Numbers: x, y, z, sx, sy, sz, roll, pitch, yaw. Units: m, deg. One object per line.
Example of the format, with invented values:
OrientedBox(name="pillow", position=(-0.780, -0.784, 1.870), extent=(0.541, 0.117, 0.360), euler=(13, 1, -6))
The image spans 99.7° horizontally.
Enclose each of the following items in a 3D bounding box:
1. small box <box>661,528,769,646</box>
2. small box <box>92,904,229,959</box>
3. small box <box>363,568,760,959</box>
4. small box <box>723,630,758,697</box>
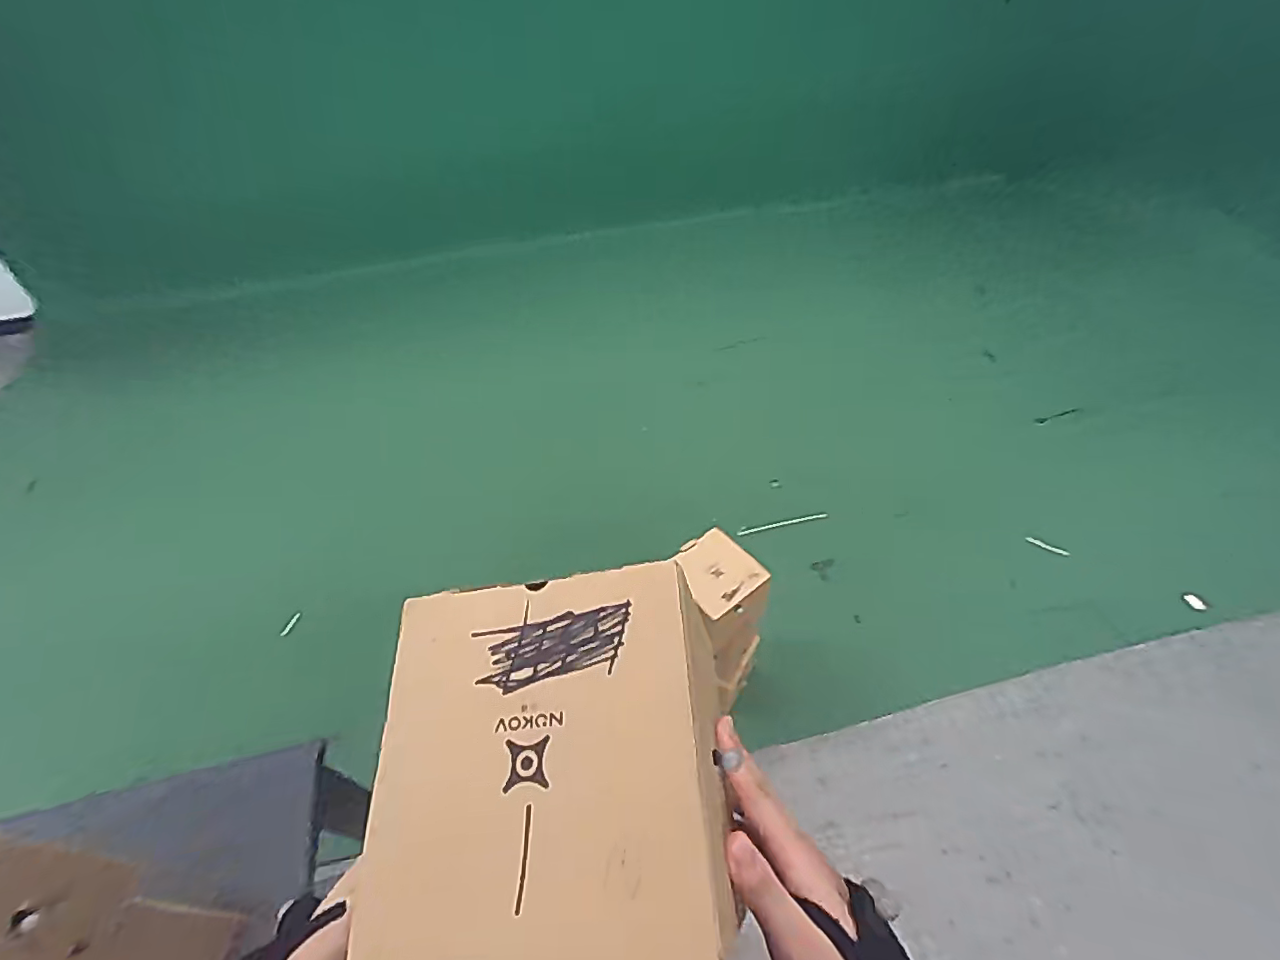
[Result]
OrientedBox(name="small box", position=(0.163, 0.248, 1.213), extent=(0.168, 0.176, 0.179), euler=(-32, 53, -22))
OrientedBox(name="small box", position=(-0.542, 0.494, 0.495), extent=(0.179, 0.176, 0.168), euler=(1, 48, 9))
OrientedBox(name="small box", position=(-0.024, 0.173, 0.325), extent=(0.168, 0.176, 0.179), euler=(-9, 57, 9))
OrientedBox(name="small box", position=(0.196, 0.480, 1.443), extent=(0.179, 0.176, 0.168), euler=(23, 54, 24))
